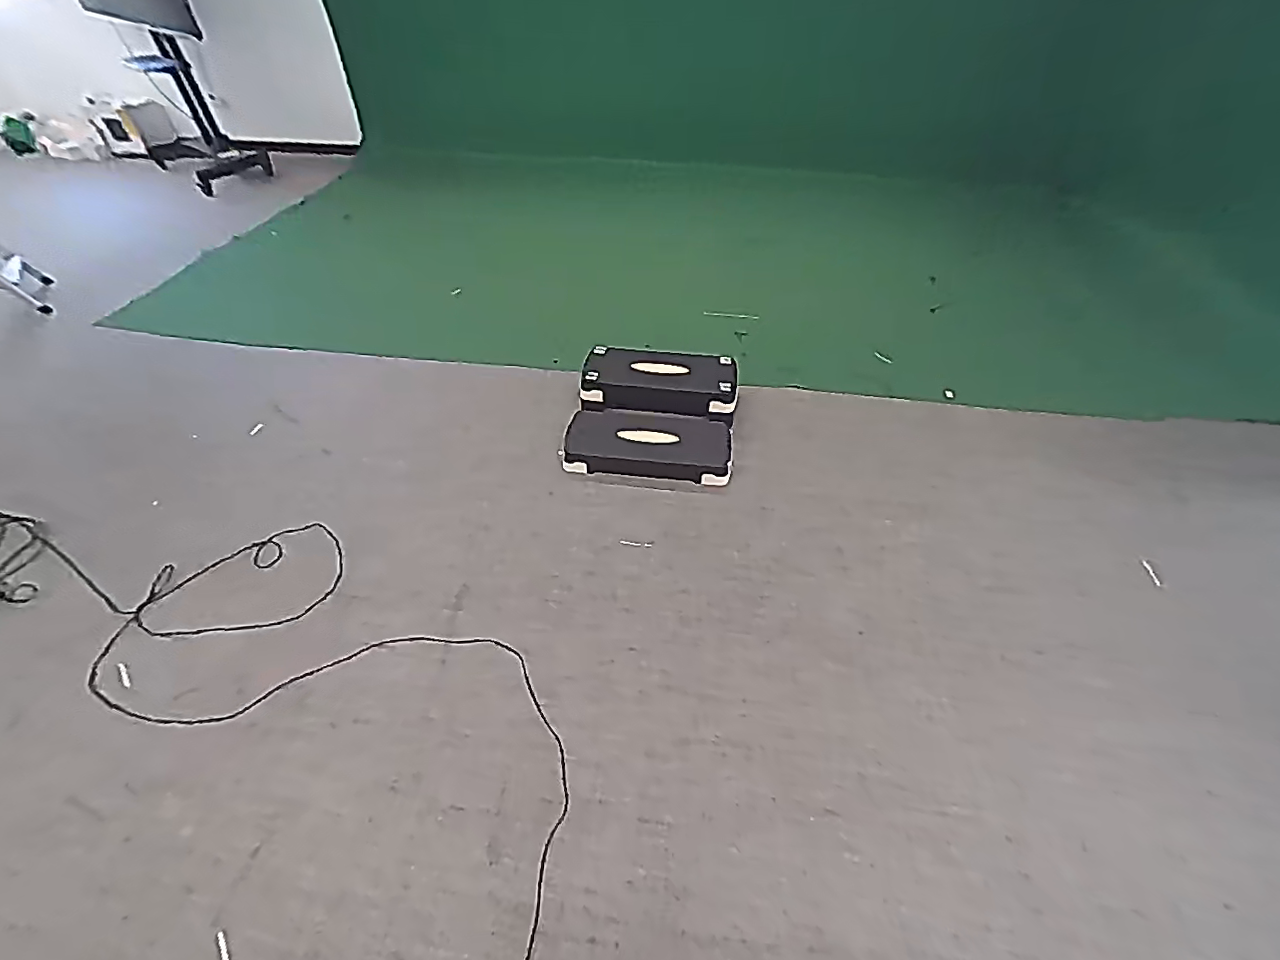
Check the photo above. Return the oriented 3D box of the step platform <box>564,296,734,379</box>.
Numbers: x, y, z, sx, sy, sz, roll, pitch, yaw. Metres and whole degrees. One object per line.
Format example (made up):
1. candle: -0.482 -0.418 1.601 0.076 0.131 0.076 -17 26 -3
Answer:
1. step platform: 0.039 -0.593 2.253 0.684 0.204 0.286 5 47 5
